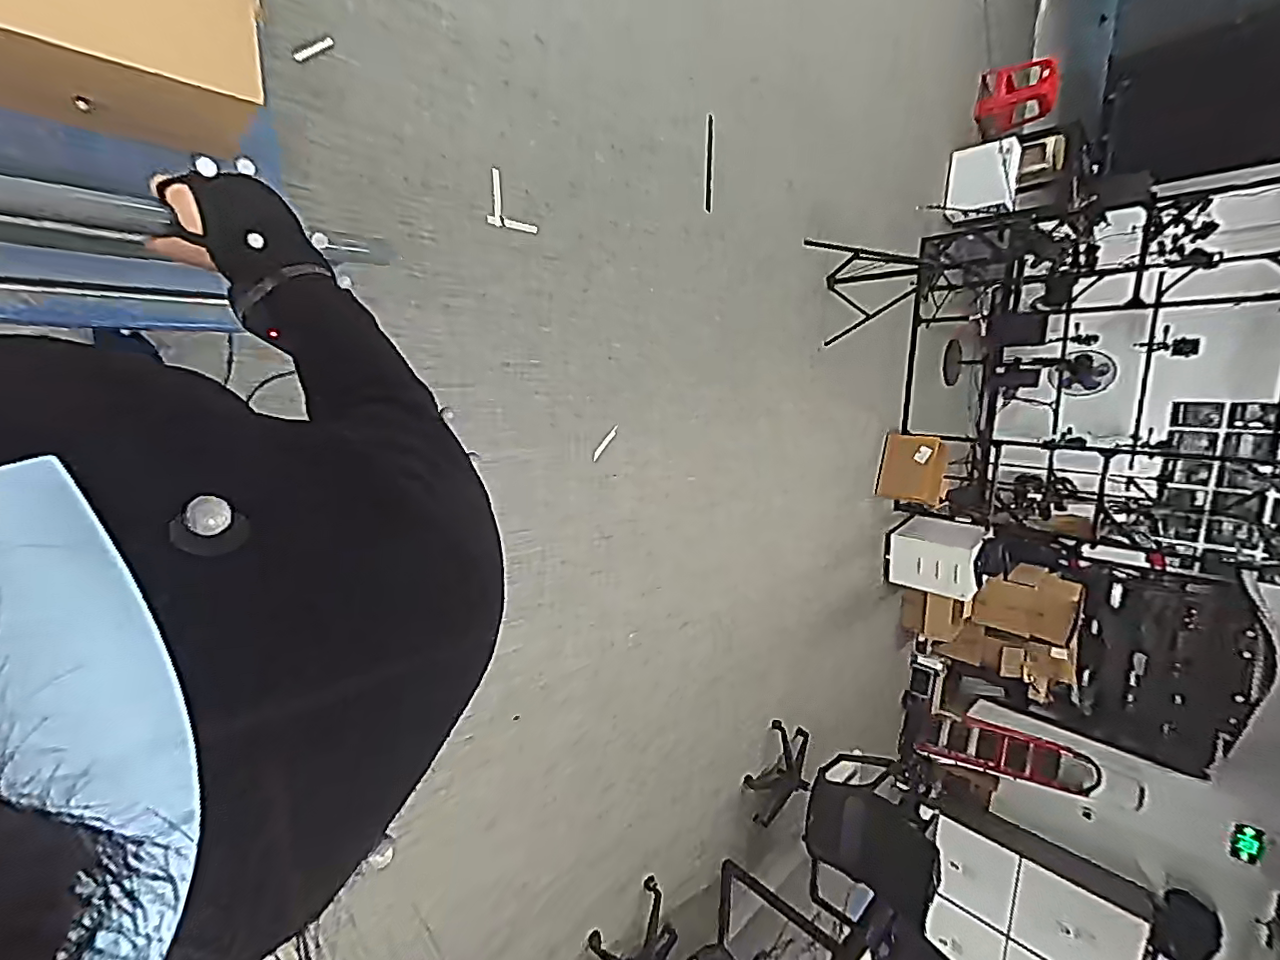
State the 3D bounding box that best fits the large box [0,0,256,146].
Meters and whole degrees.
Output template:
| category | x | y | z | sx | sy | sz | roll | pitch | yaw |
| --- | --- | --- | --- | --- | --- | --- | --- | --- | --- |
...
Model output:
| category | x | y | z | sx | sy | sz | roll | pitch | yaw |
| --- | --- | --- | --- | --- | --- | --- | --- | --- | --- |
| large box | -0.828 | -0.729 | 0.762 | 0.408 | 0.320 | 0.320 | -10 | 104 | -43 |
